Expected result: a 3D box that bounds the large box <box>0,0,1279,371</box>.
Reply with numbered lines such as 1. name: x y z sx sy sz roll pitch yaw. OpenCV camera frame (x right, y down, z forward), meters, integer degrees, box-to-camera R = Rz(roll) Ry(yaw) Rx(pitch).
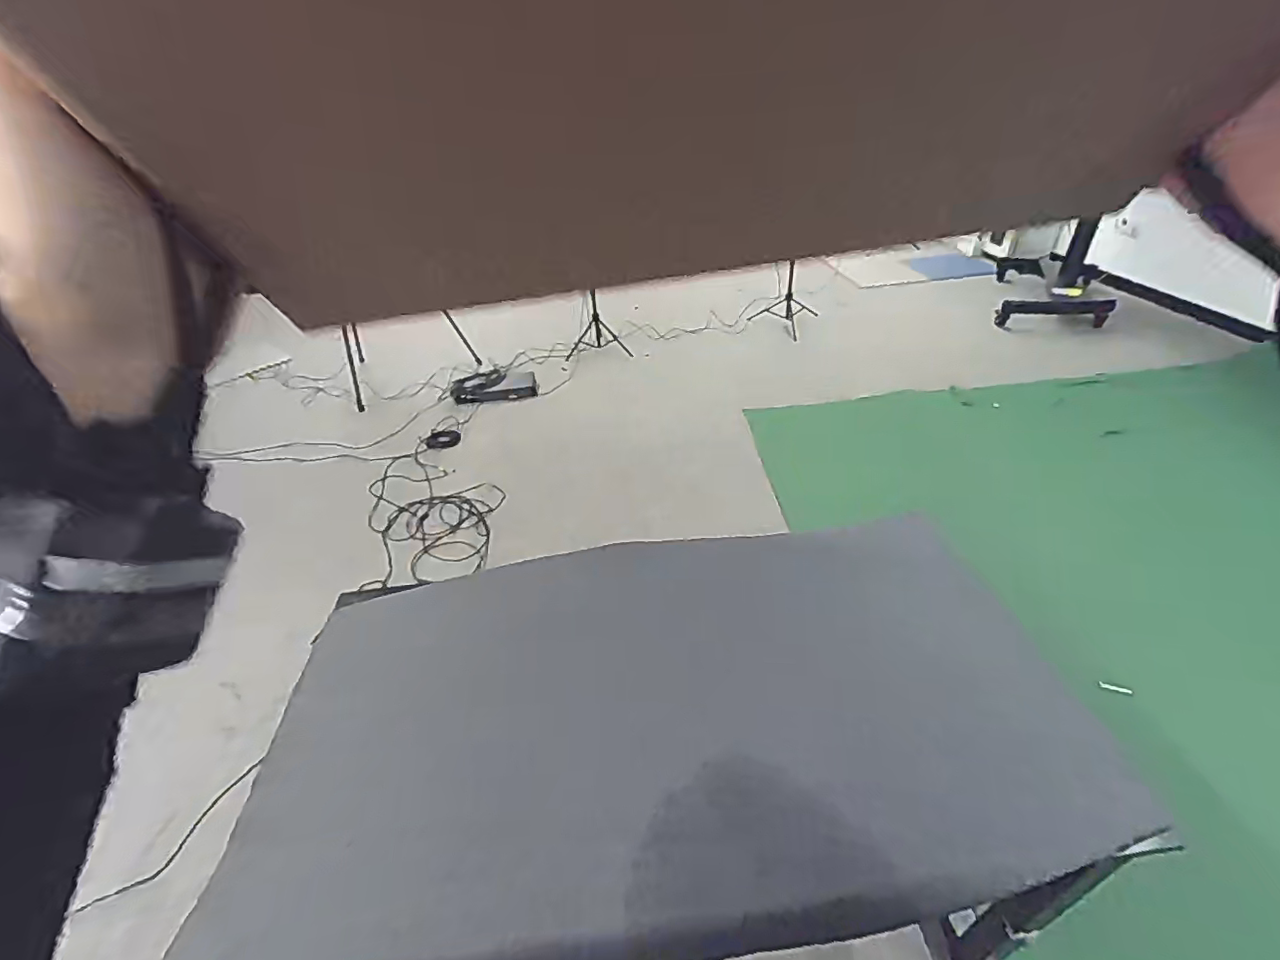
1. large box: 0.013 -0.272 0.182 0.408 0.320 0.320 -10 74 -5
